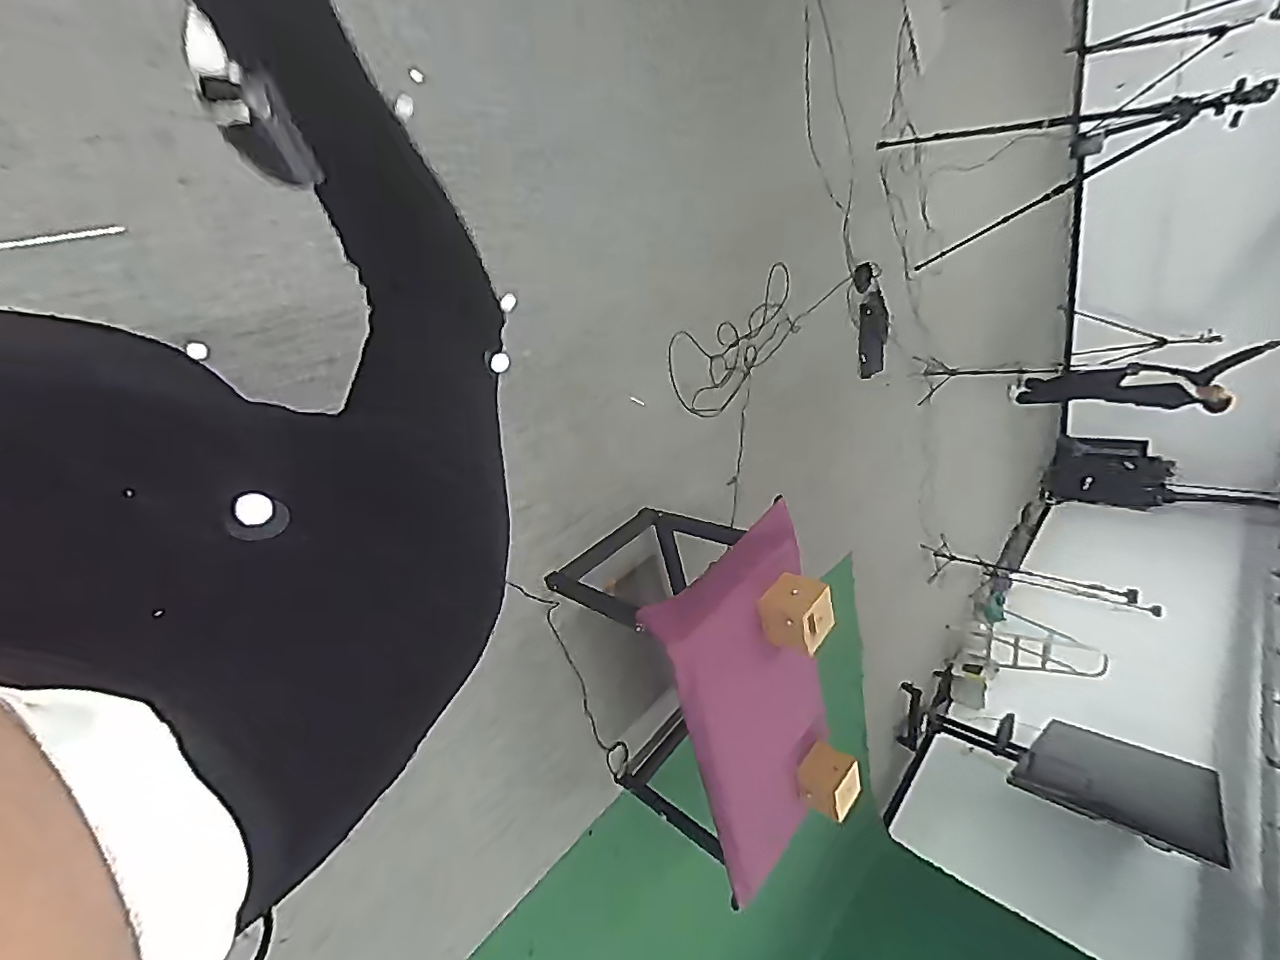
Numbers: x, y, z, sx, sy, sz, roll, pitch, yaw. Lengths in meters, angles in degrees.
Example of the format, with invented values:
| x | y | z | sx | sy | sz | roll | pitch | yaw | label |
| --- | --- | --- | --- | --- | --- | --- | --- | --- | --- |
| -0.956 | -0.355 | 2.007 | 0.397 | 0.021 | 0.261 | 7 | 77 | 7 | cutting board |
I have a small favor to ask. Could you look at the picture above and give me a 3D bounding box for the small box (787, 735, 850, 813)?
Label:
| x | y | z | sx | sy | sz | roll | pitch | yaw | label |
| --- | --- | --- | --- | --- | --- | --- | --- | --- | --- |
| 0.704 | 1.150 | 2.131 | 0.179 | 0.176 | 0.168 | -31 | 116 | -37 | small box |
